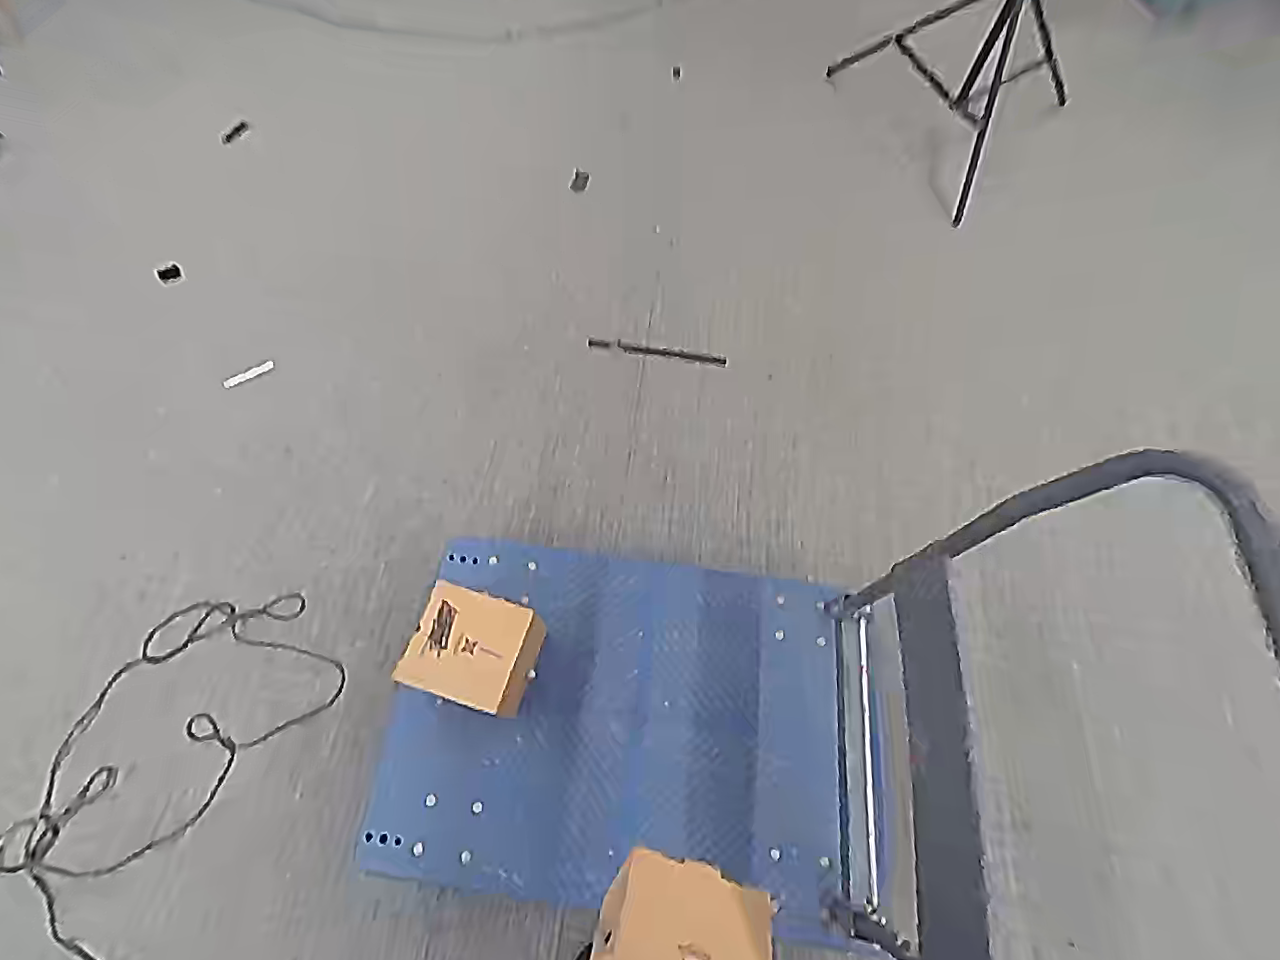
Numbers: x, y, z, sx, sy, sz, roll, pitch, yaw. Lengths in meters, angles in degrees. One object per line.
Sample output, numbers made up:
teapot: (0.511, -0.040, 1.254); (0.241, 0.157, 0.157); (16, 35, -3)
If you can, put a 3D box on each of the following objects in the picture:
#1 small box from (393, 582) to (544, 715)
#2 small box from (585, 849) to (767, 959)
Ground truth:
small box: (-0.284, 0.299, 0.939); (0.179, 0.176, 0.168); (17, 65, 6)
small box: (0.025, 0.548, 0.578); (0.168, 0.176, 0.179); (19, 34, 2)
